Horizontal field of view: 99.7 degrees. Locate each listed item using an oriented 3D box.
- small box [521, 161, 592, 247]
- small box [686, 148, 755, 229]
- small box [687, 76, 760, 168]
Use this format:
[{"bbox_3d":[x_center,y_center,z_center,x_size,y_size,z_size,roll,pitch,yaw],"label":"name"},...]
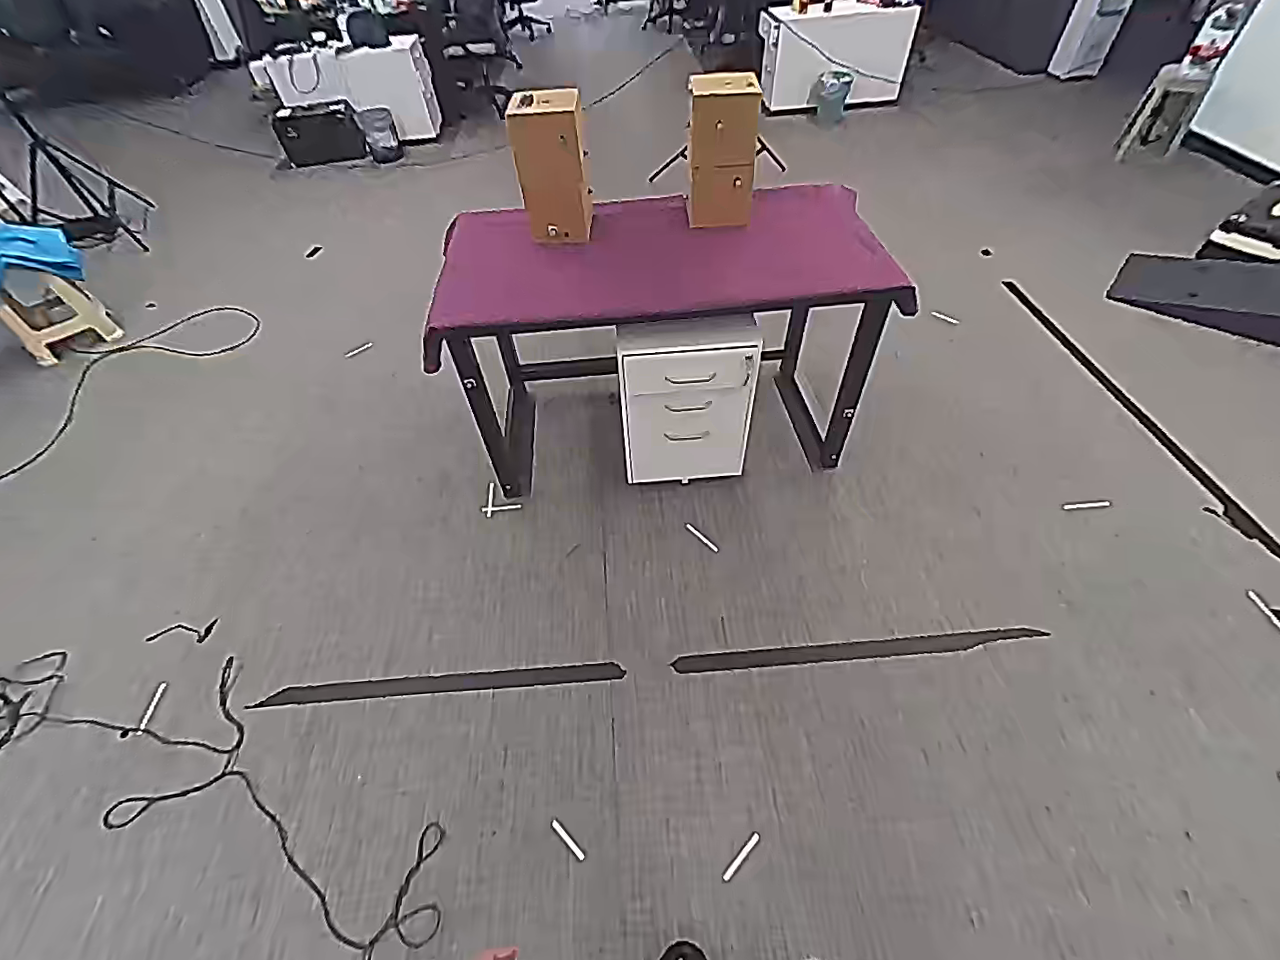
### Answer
[{"bbox_3d":[-0.233,-0.797,1.565,0.168,0.176,0.179,-2,52,4],"label":"small box"},{"bbox_3d":[0.228,-0.855,1.582,0.179,0.176,0.168,-3,50,2],"label":"small box"},{"bbox_3d":[0.219,-0.960,1.457,0.179,0.176,0.168,-2,51,3],"label":"small box"}]
